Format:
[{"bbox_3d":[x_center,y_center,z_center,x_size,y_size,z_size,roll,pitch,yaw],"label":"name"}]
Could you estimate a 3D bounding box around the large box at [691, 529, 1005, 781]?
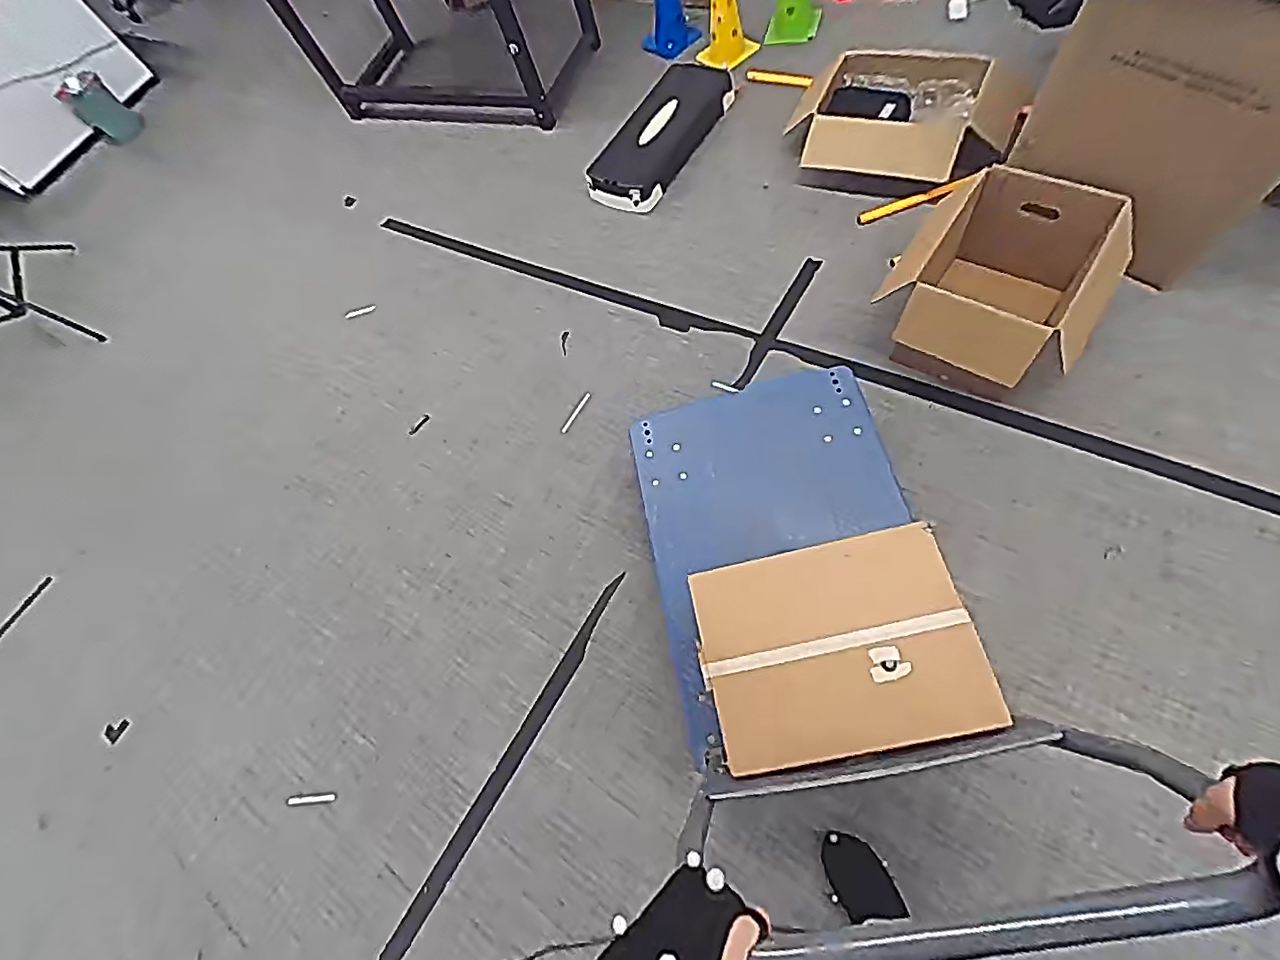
[{"bbox_3d":[0.331,0.322,0.983,0.408,0.320,0.320,-14,67,6],"label":"large box"}]
